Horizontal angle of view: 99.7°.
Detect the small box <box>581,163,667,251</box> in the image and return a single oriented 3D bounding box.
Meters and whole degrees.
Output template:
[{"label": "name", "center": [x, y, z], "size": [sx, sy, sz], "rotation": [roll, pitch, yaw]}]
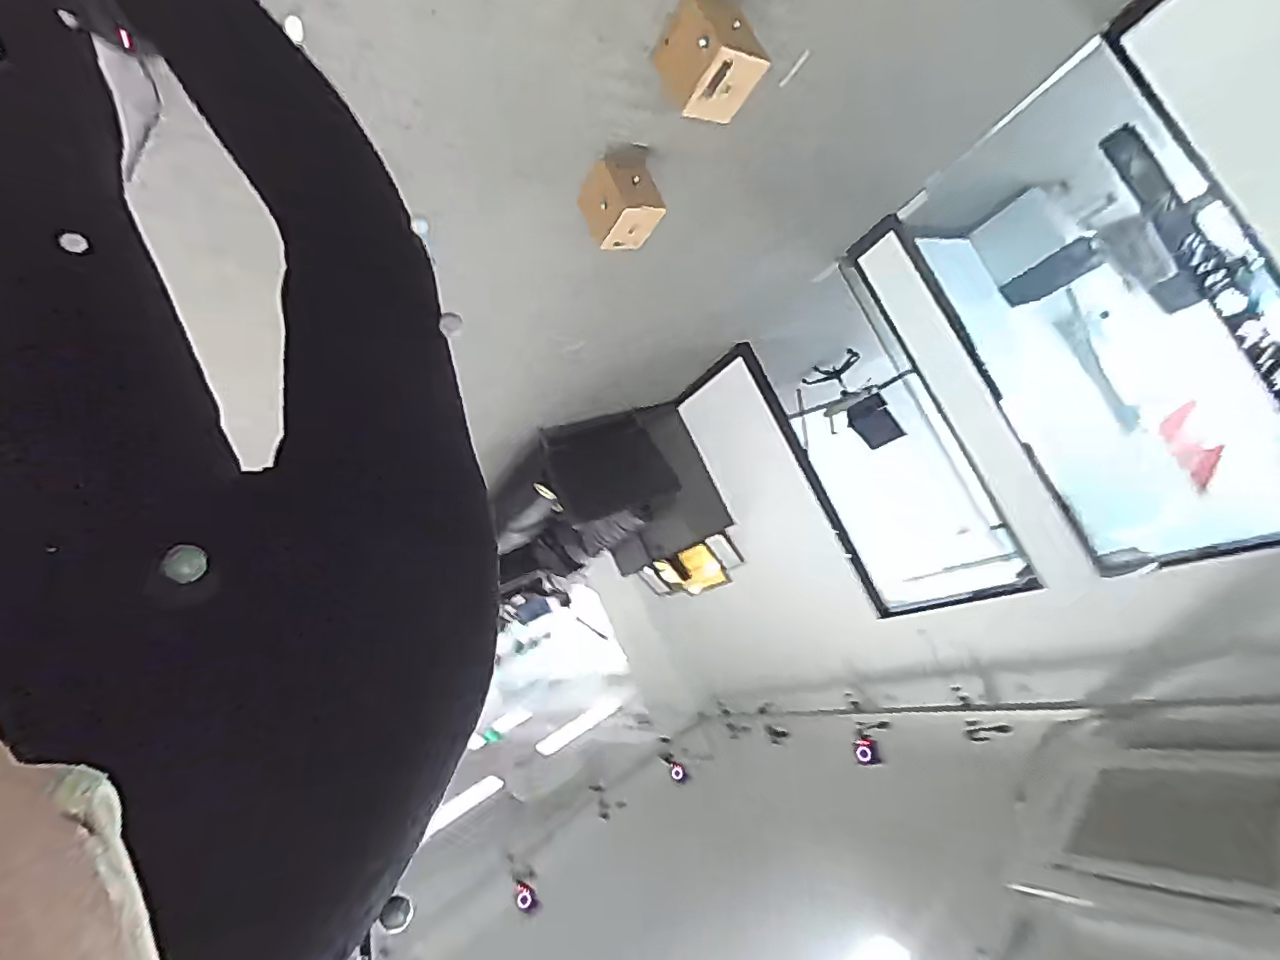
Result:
[{"label": "small box", "center": [-0.055, -0.820, 1.631], "size": [0.168, 0.176, 0.179], "rotation": [-20, 169, -37]}]
